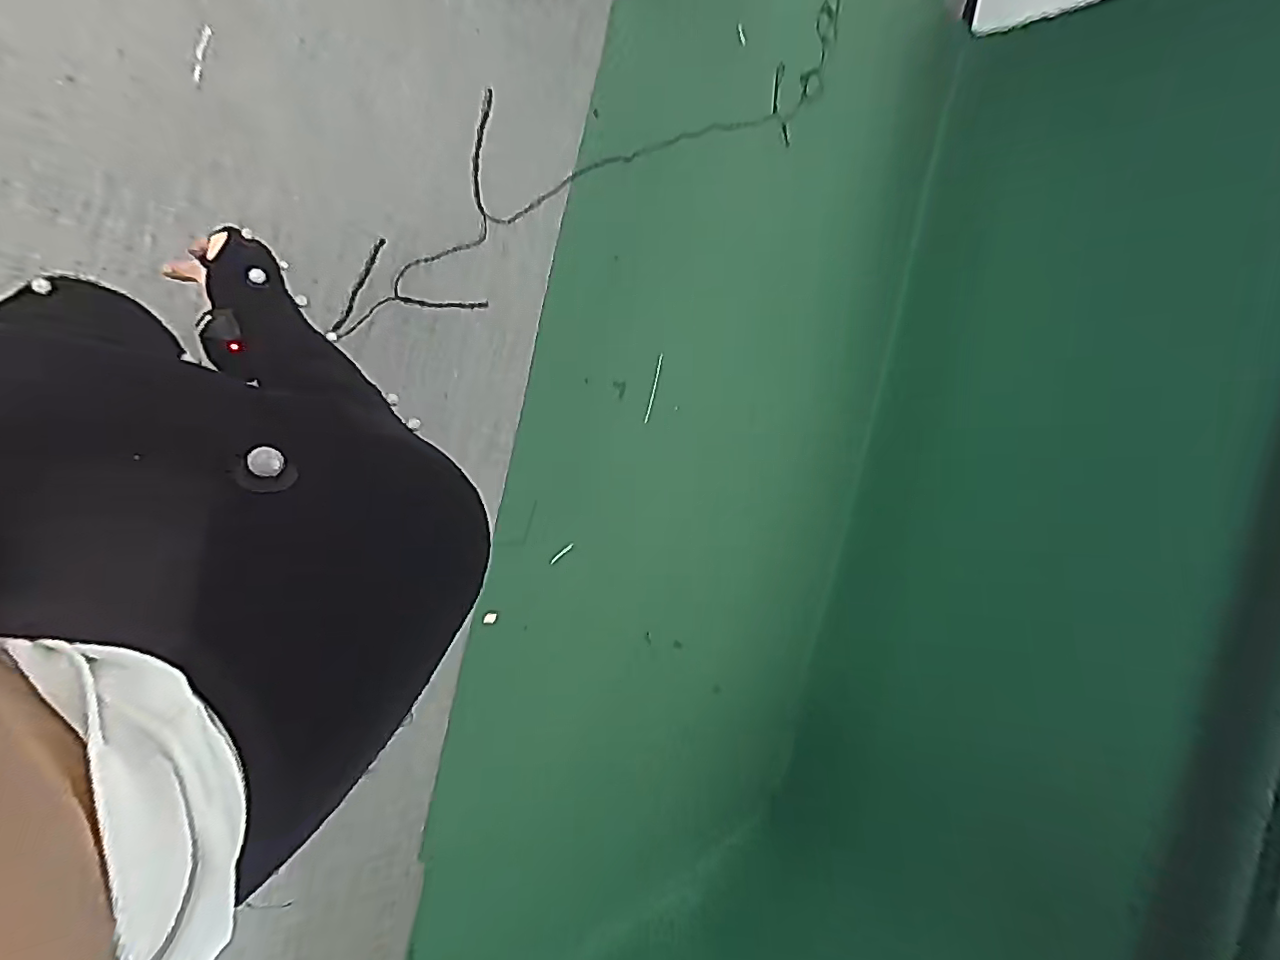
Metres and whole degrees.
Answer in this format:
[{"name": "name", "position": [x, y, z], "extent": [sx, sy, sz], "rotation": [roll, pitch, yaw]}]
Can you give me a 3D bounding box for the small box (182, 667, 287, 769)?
[{"name": "small box", "position": [-1.036, 0.593, 1.378], "extent": [0.179, 0.176, 0.168], "rotation": [10, 93, -46]}]
